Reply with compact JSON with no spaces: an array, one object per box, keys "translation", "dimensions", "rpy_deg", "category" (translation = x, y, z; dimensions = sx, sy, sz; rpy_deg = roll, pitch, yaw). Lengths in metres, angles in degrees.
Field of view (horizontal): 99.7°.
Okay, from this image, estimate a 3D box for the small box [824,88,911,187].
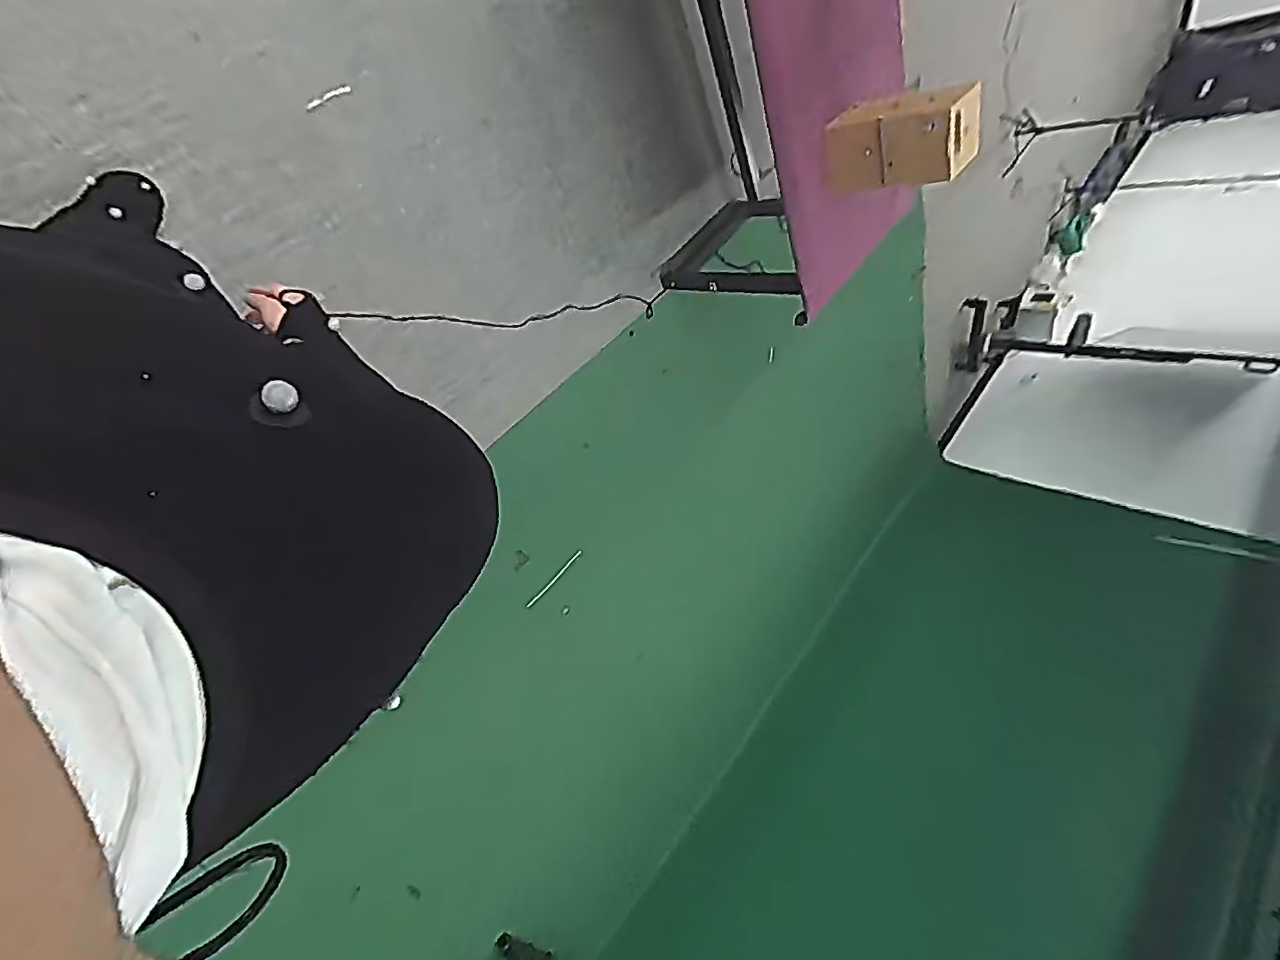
[{"translation":[0.625,-0.937,1.493],"dimensions":[0.168,0.176,0.179],"rpy_deg":[-46,134,-22],"category":"small box"}]
